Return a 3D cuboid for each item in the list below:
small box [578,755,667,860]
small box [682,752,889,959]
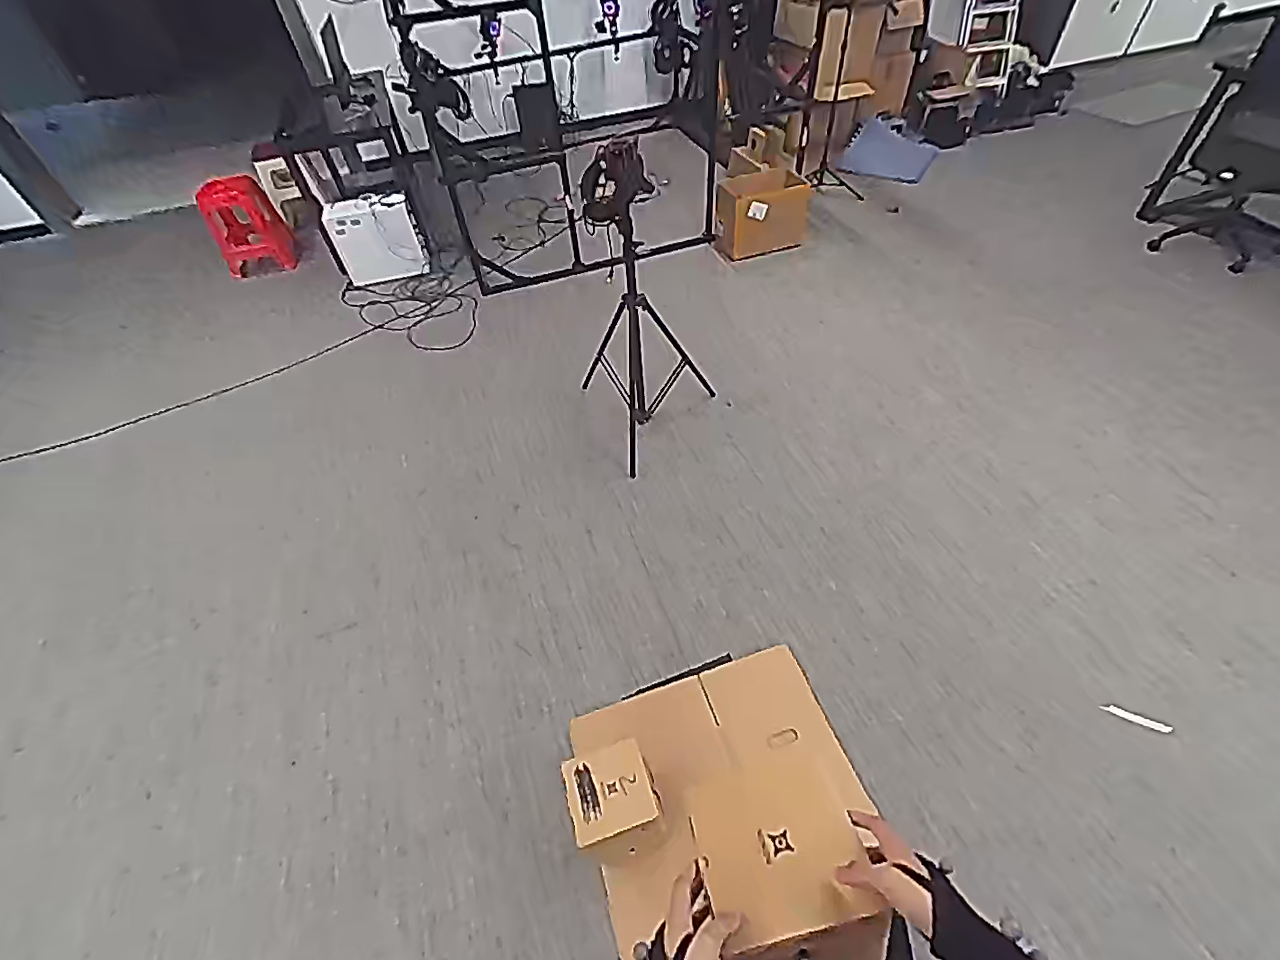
[{"bbox_3d":[-0.039,0.808,1.332,0.179,0.176,0.168,-17,50,-8],"label":"small box"},{"bbox_3d":[0.159,0.459,0.630,0.179,0.176,0.168,-14,31,-3],"label":"small box"}]
